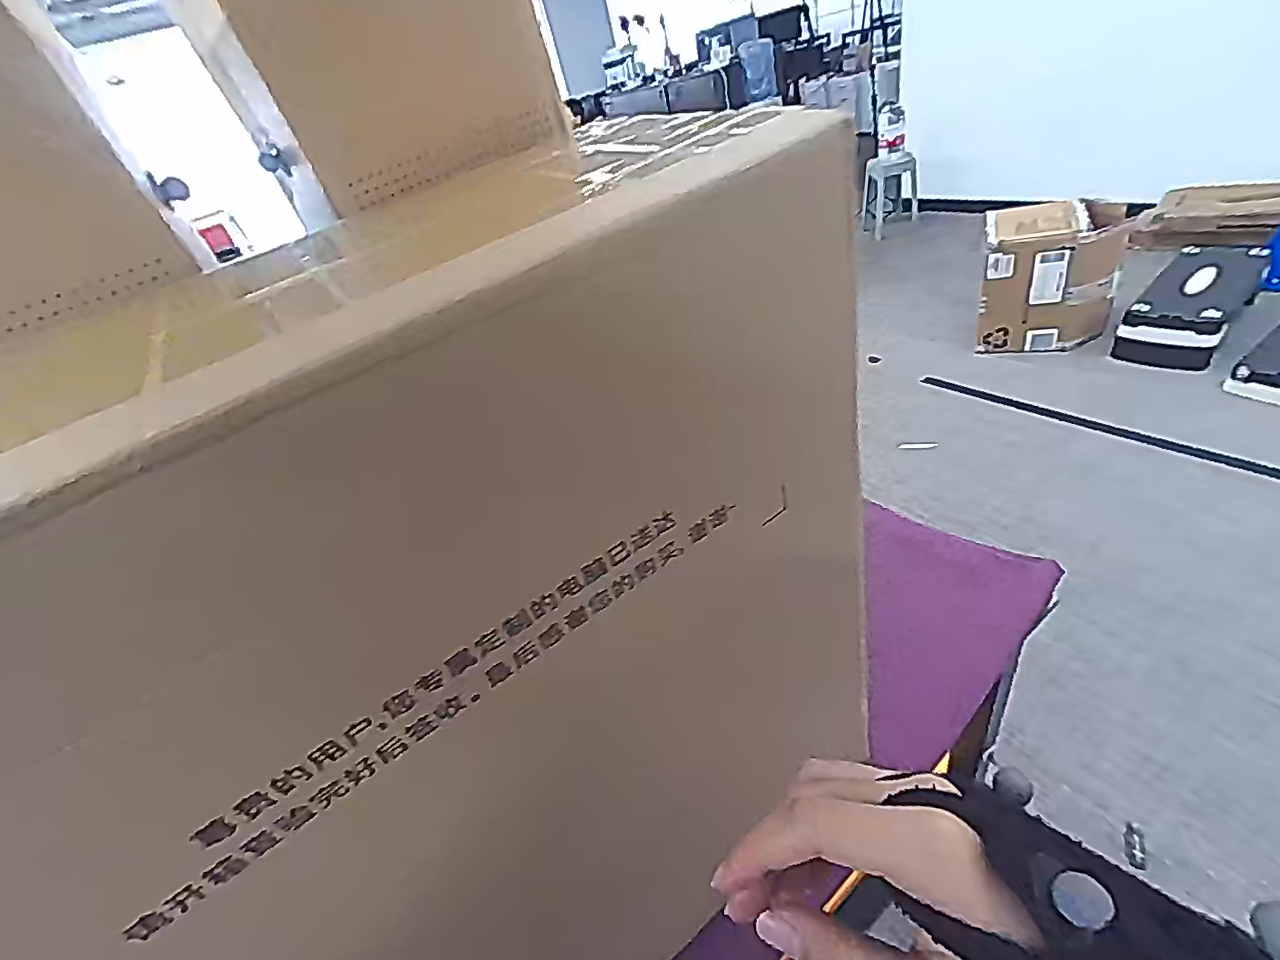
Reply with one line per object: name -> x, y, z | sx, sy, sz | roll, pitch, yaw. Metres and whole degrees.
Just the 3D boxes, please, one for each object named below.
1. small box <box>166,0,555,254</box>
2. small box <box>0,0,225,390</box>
small box -> -0.179, -0.277, 0.371 | 0.179, 0.176, 0.168 | -38, 41, -21
small box -> -0.364, -0.146, 0.281 | 0.179, 0.176, 0.168 | -33, 41, -21
